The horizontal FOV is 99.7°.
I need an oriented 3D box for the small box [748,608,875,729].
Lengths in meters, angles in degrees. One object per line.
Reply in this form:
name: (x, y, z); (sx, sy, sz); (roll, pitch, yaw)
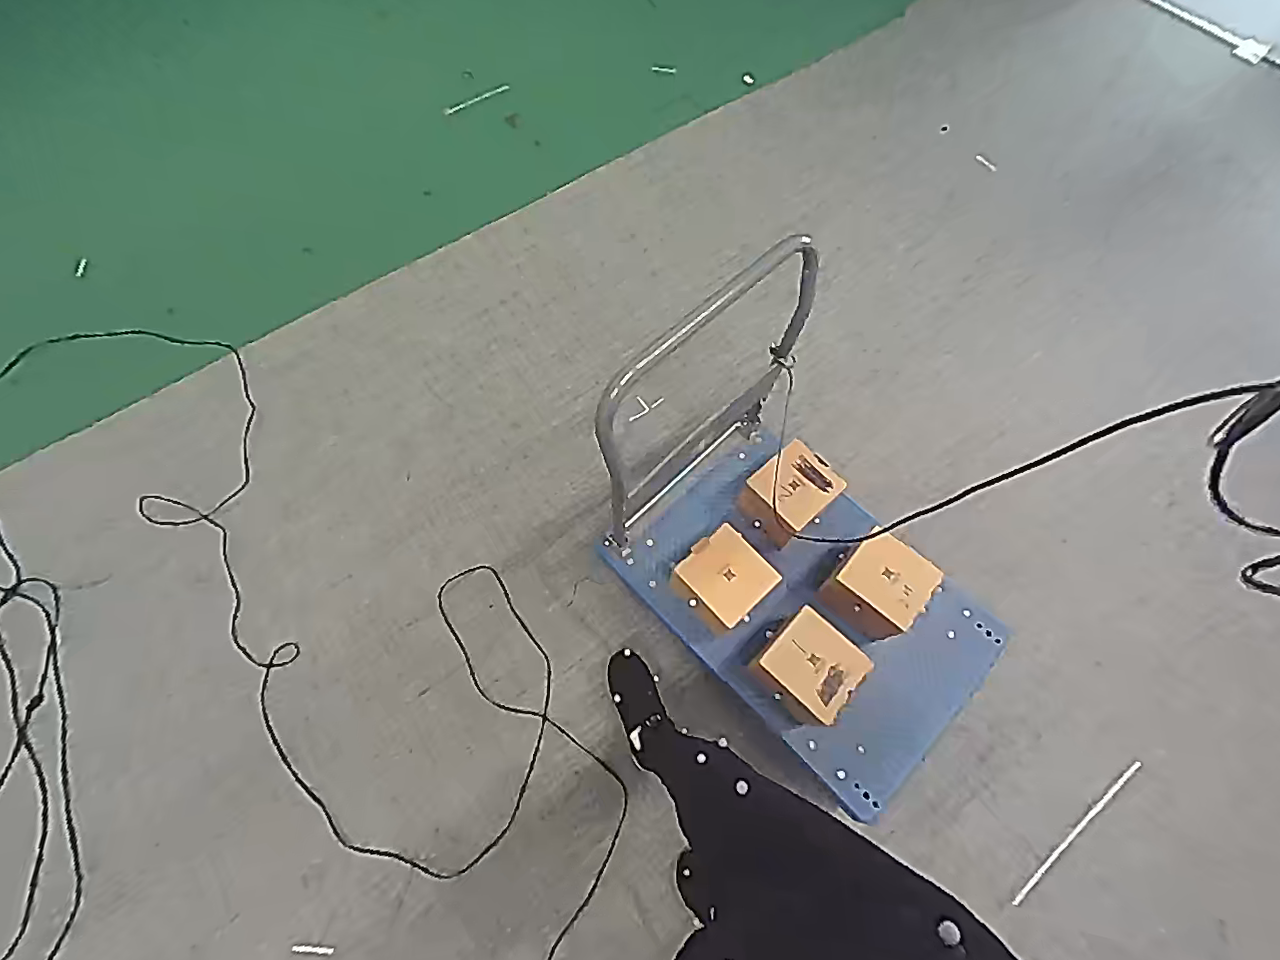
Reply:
small box: (0.359, 0.405, 1.164); (0.179, 0.176, 0.168); (42, 72, 17)

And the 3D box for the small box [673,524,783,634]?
small box: (0.193, 0.236, 1.239); (0.168, 0.176, 0.179); (-39, 72, -16)

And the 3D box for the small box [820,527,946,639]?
small box: (0.542, 0.242, 1.233); (0.179, 0.176, 0.168); (40, 73, 16)
